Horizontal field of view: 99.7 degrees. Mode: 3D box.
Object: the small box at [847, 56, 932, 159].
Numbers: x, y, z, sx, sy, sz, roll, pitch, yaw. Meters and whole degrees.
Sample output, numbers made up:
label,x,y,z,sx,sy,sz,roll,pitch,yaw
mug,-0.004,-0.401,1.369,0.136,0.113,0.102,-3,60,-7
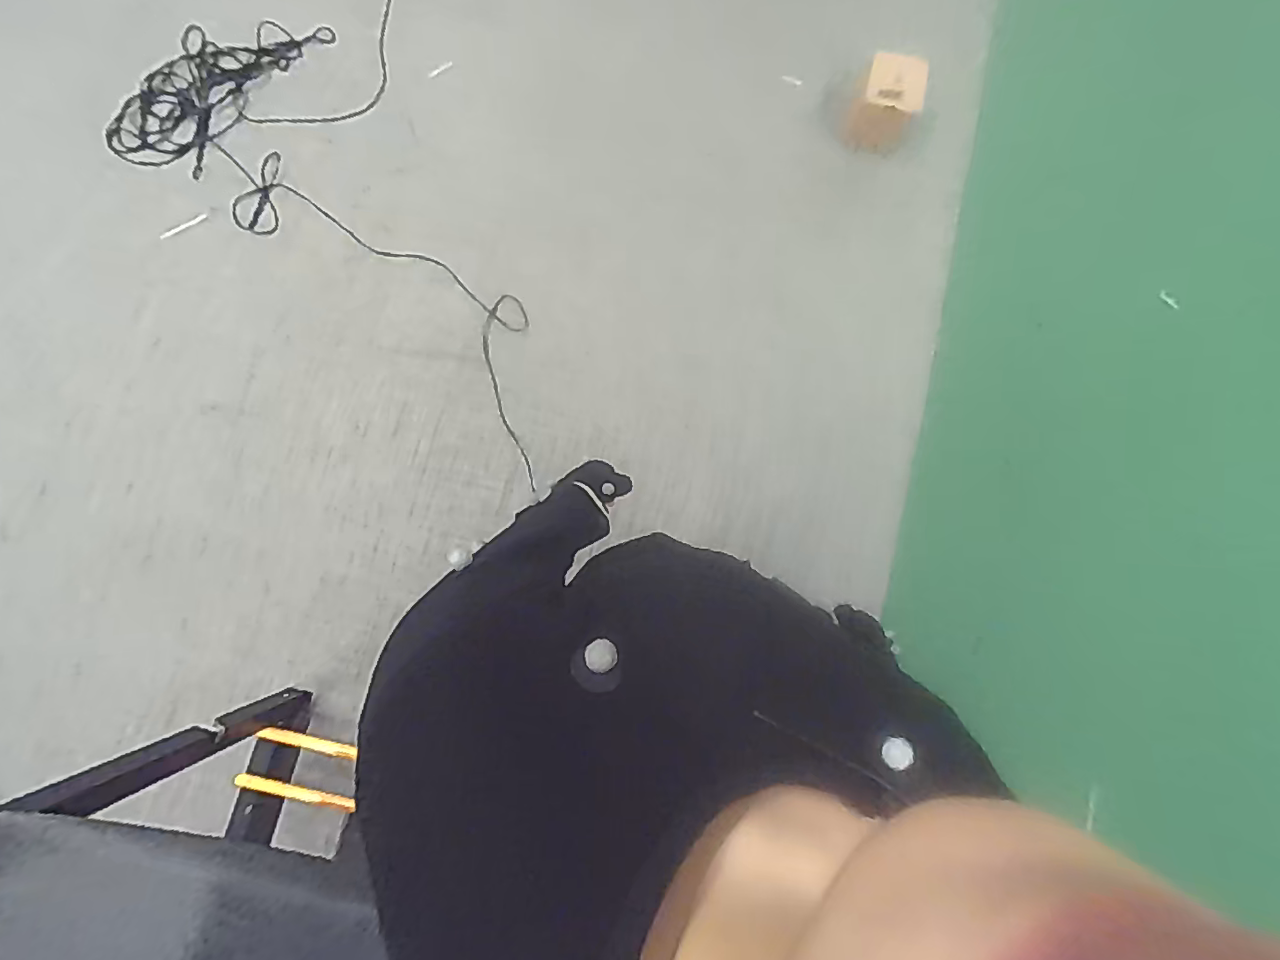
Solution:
label,x,y,z,sx,sy,sz,roll,pitch,yaw
small box,0.740,-1.109,1.623,0.168,0.176,0.179,14,81,-1
